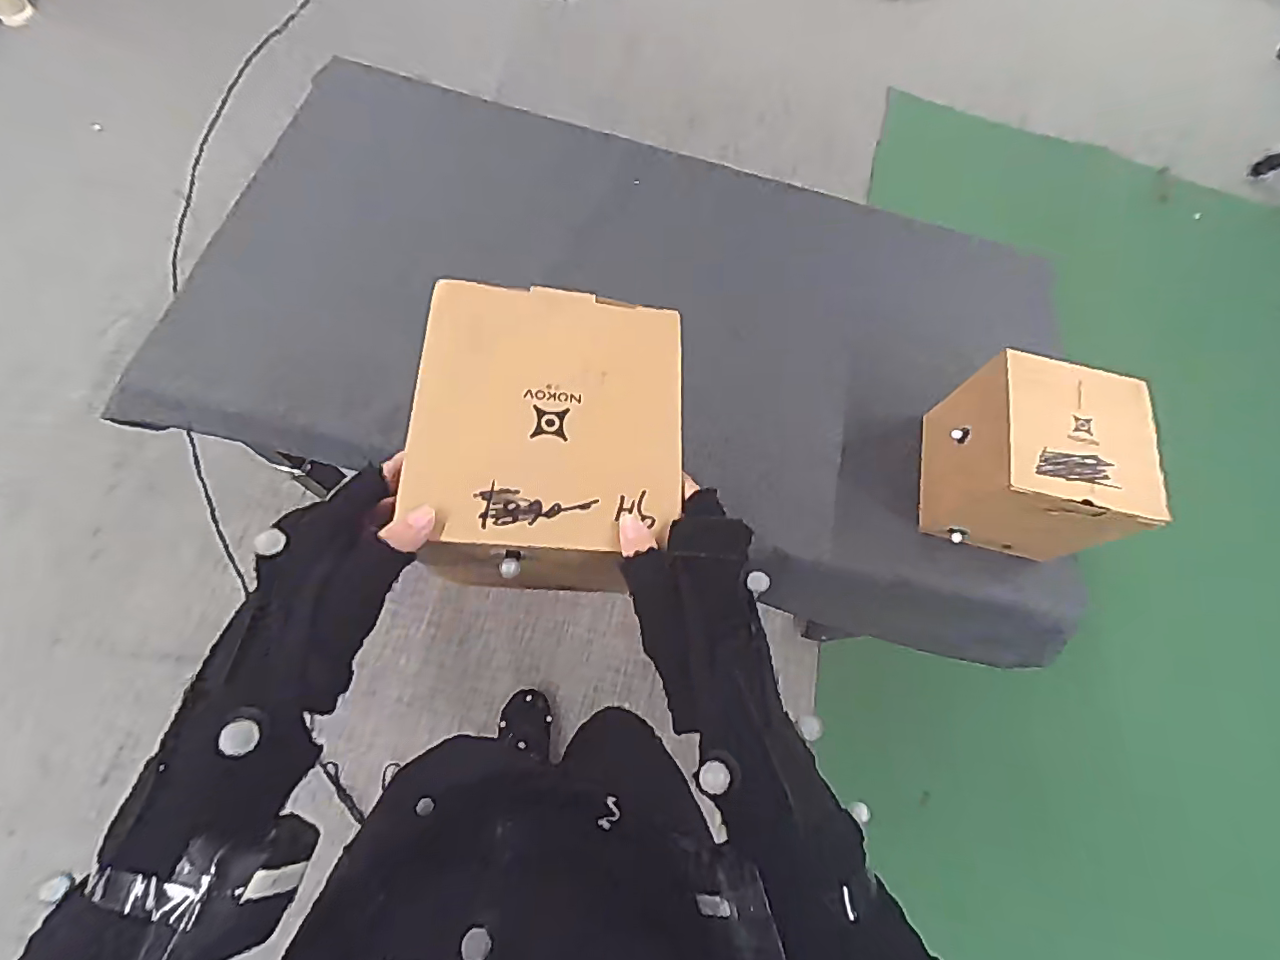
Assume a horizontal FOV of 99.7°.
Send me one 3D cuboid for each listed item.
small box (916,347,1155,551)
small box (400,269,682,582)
[{"bbox_3d":[0.460,-0.026,0.657,0.168,0.176,0.179,14,68,0],"label":"small box"},{"bbox_3d":[-0.068,-0.026,0.420,0.168,0.176,0.179,5,70,-9],"label":"small box"}]
